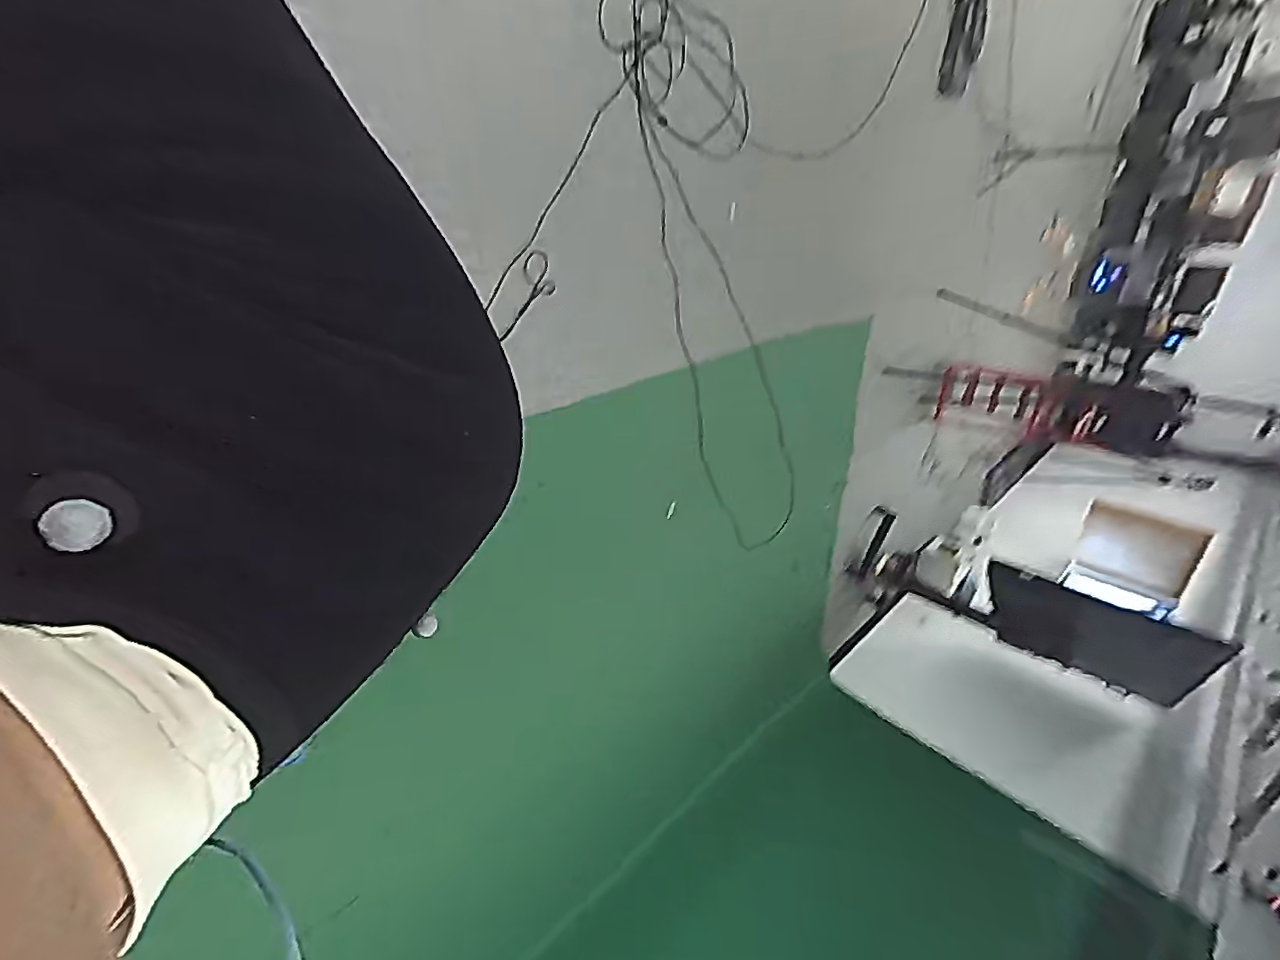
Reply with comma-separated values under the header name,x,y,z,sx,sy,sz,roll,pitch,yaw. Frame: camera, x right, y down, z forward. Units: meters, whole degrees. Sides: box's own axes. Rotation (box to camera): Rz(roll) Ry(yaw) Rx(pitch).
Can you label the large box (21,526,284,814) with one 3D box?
name,x,y,z,sx,sy,sz,roll,pitch,yaw
large box,-0.986,0.362,1.125,0.320,0.320,0.408,-13,119,-40
